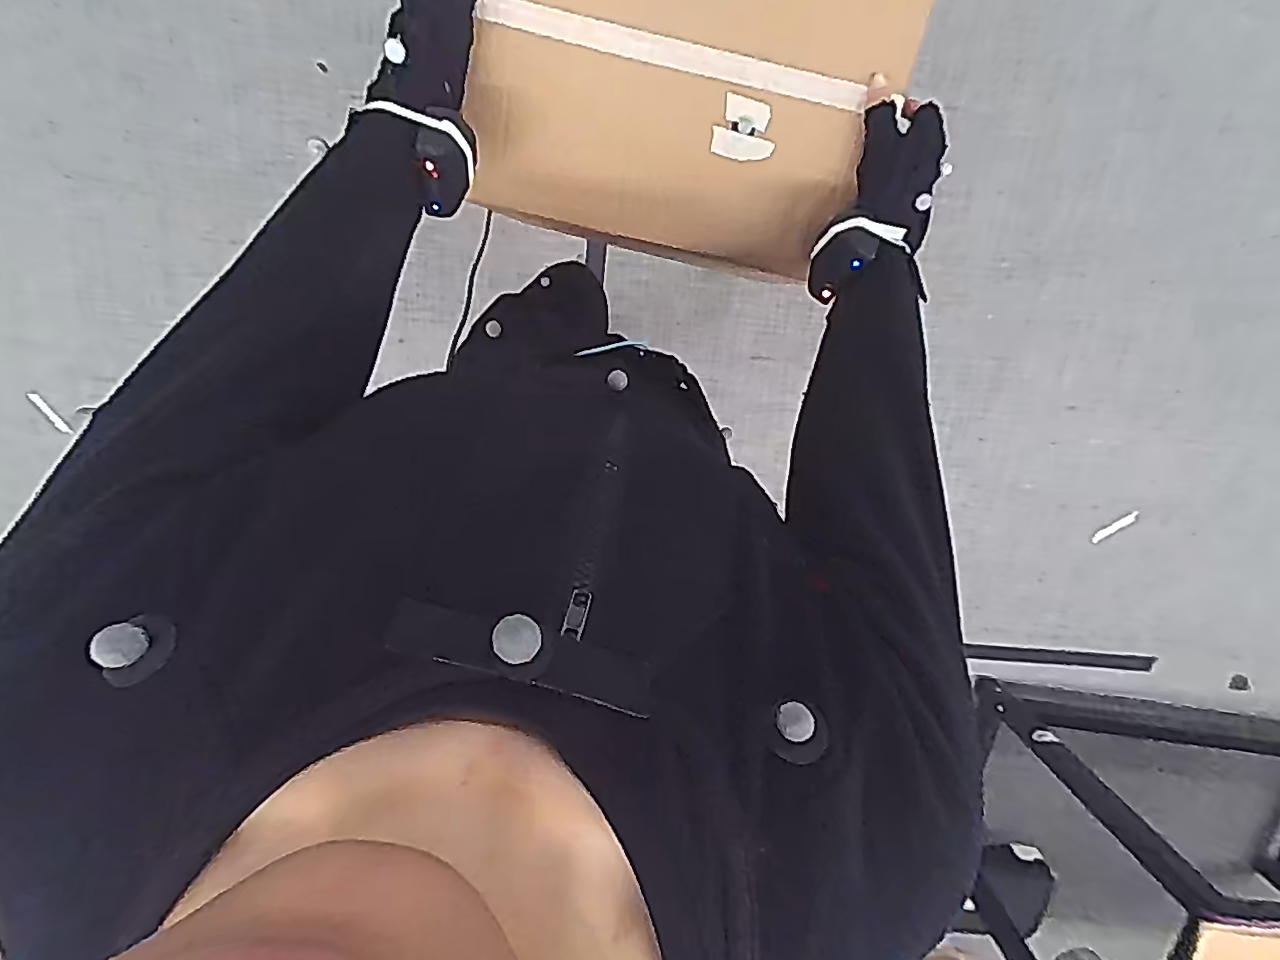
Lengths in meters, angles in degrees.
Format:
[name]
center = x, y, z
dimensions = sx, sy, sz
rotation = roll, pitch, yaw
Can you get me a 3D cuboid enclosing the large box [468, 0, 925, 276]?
[large box]
center = 0.047, -0.444, 0.647
dimensions = 0.408, 0.320, 0.320
rotation = 12, 111, -4
